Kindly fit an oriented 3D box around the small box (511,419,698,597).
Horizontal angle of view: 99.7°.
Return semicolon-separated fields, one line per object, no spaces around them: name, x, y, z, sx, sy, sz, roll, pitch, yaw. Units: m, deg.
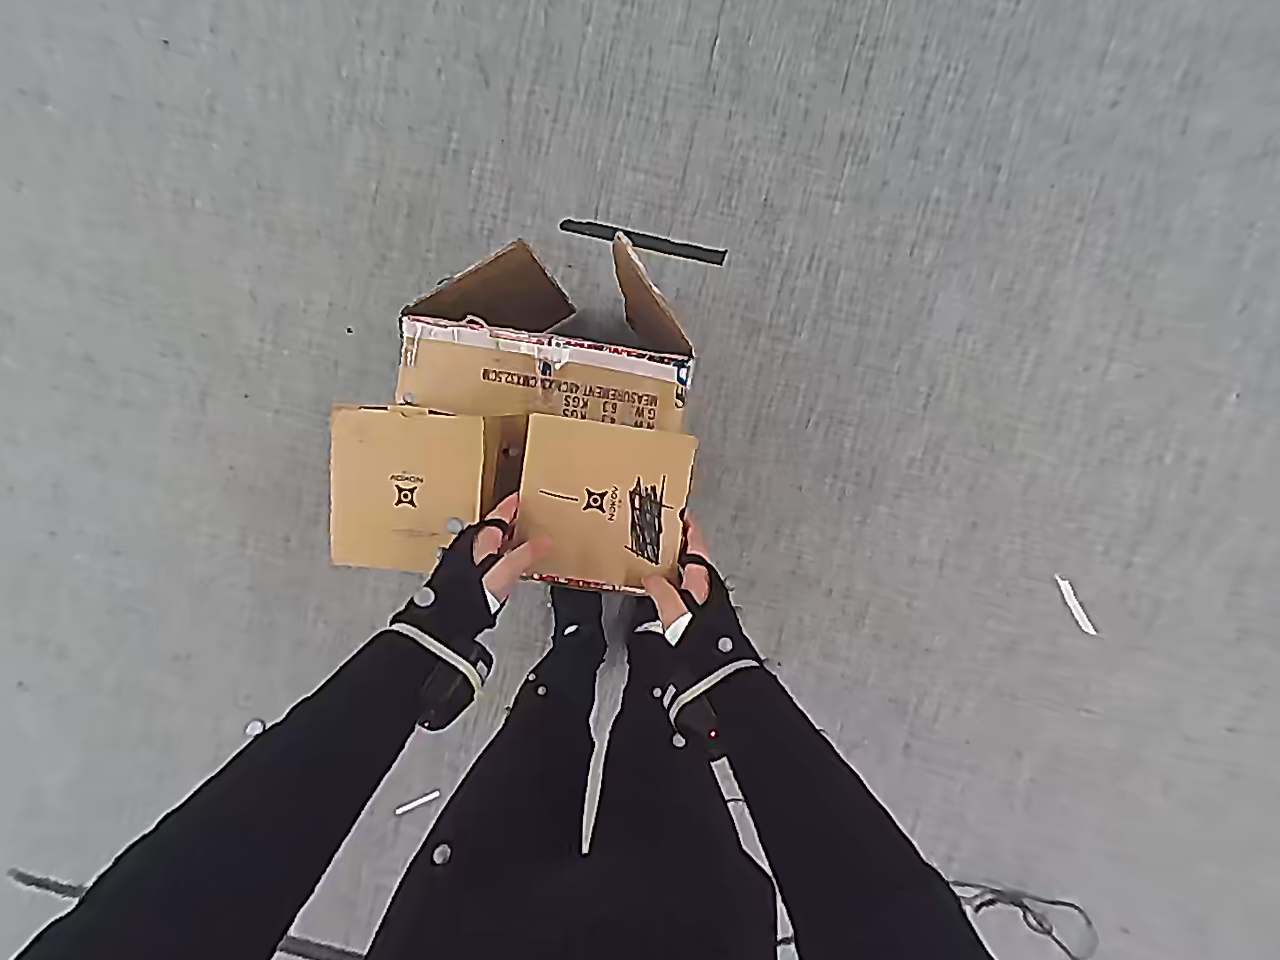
small box;-0.038;0.028;0.640;0.179;0.176;0.168;8;90;-1

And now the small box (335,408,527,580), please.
small box;-0.240;0.005;0.654;0.168;0.176;0.179;5;99;3
